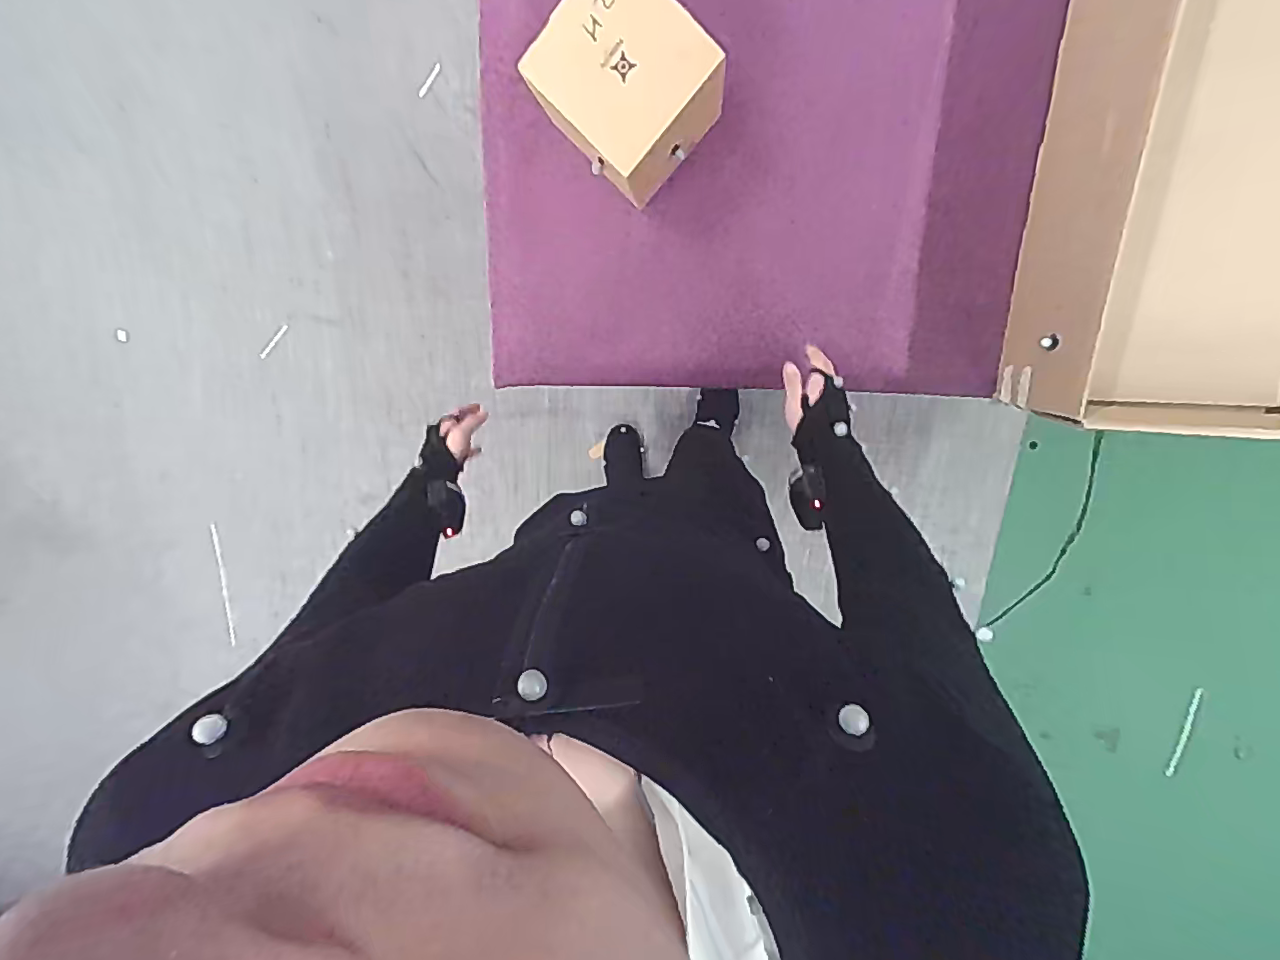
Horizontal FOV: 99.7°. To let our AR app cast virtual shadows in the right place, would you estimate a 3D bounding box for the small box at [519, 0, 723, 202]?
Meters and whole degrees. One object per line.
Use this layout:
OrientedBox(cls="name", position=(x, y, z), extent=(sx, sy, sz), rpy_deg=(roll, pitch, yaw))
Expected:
OrientedBox(cls="small box", position=(-0.015, -0.483, 0.682), extent=(0.179, 0.176, 0.168), rpy_deg=(44, 104, -6))
